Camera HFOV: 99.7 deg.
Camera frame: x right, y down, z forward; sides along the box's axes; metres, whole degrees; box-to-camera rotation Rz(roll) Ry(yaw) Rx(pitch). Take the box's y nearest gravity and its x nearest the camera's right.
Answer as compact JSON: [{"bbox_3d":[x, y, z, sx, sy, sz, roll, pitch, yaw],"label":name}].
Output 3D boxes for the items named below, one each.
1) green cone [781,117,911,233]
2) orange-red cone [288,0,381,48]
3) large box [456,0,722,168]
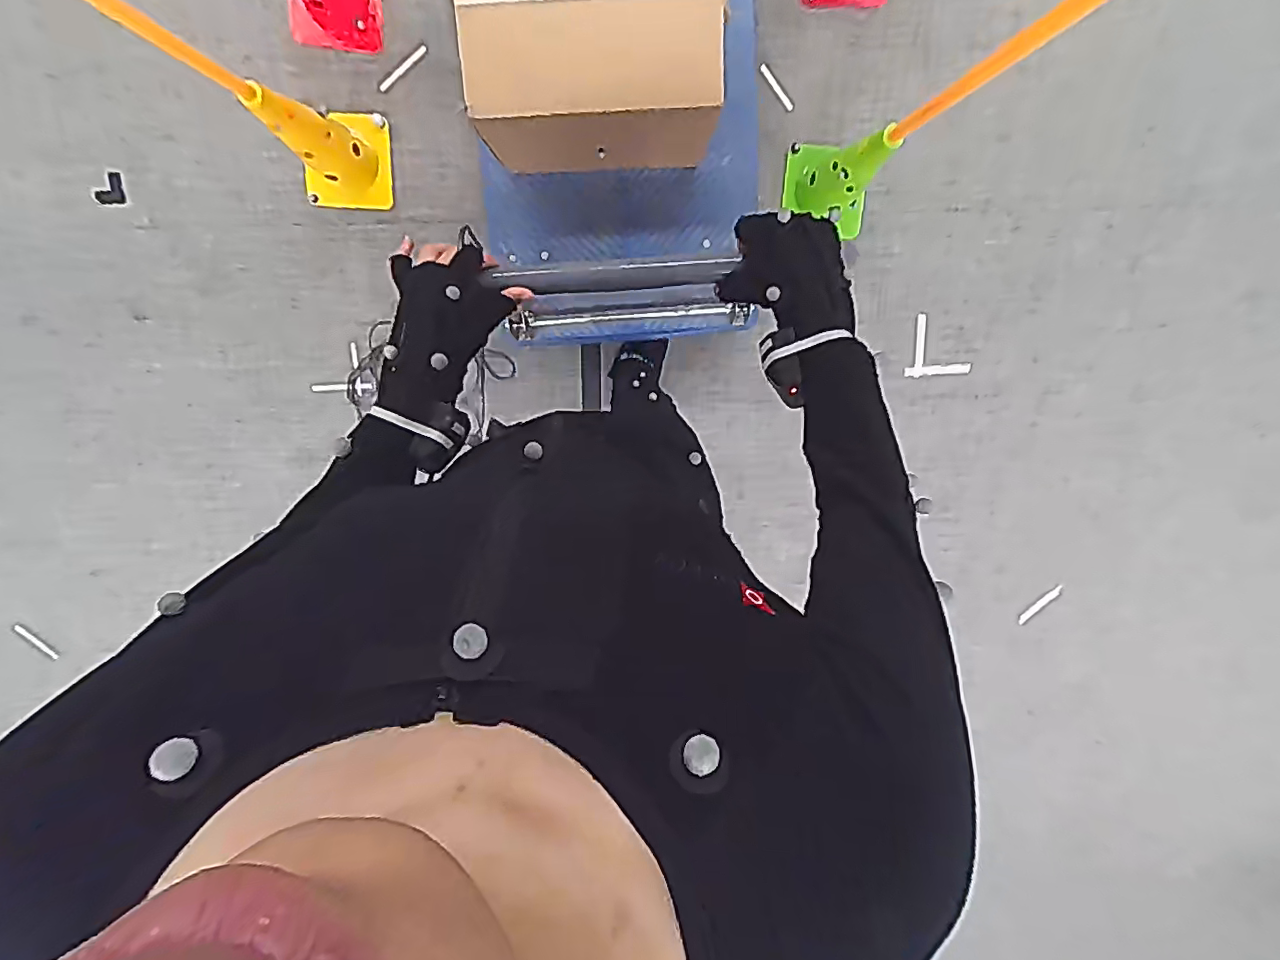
[{"bbox_3d":[0.454,-0.667,1.141,0.202,0.368,0.200,2,104,-4],"label":"green cone"},{"bbox_3d":[-0.660,-1.033,1.017,0.198,0.360,0.199,6,103,-4],"label":"orange-red cone"},{"bbox_3d":[-0.079,-0.770,0.951,0.408,0.320,0.320,-3,105,0],"label":"large box"}]
